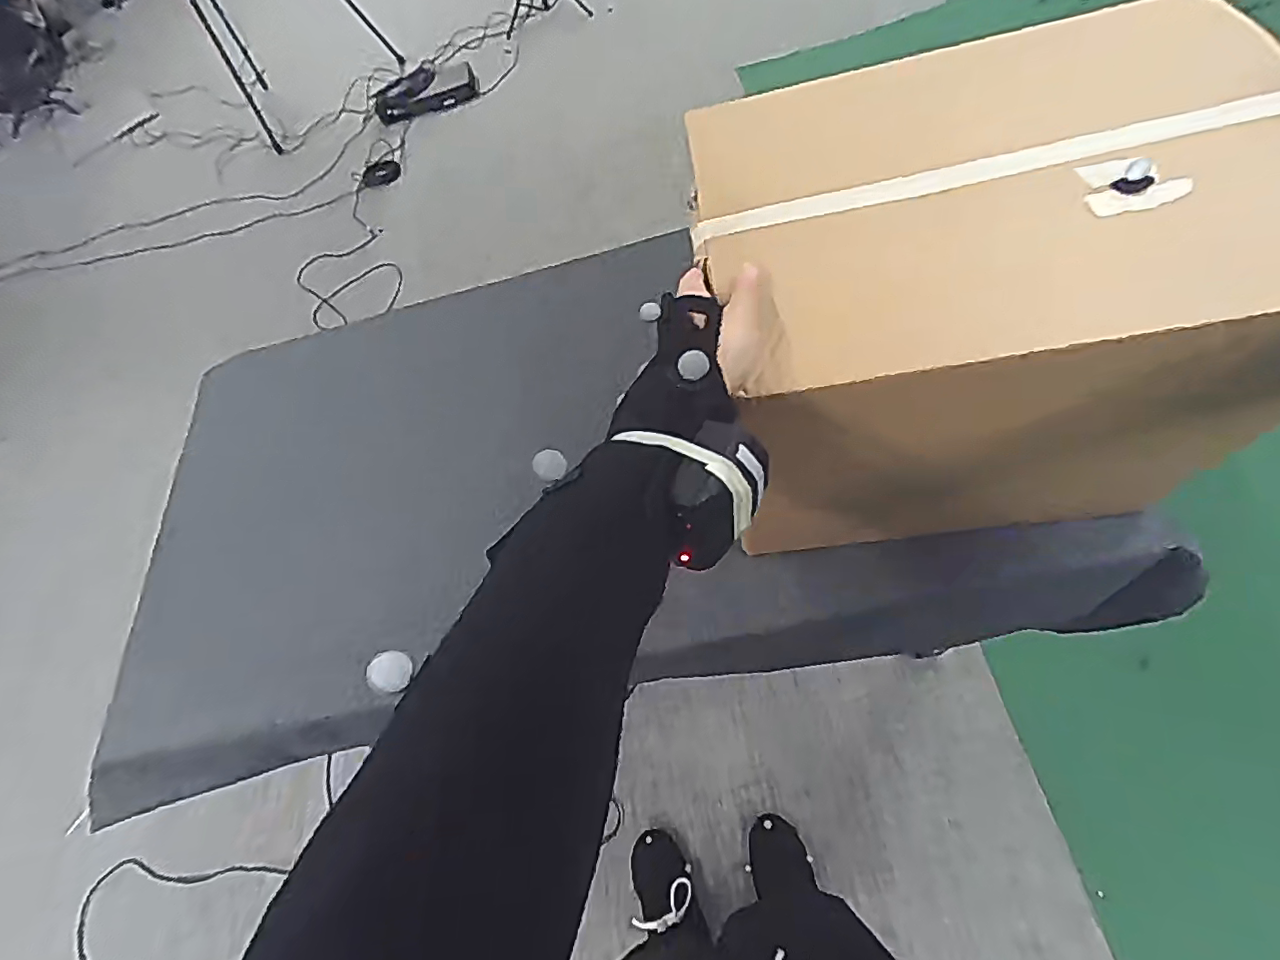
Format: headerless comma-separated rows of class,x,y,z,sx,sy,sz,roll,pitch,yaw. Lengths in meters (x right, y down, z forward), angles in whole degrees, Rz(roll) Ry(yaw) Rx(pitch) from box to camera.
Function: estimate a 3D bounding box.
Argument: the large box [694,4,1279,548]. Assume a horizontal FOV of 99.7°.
large box,0.277,-0.149,0.515,0.408,0.320,0.320,-8,63,8
